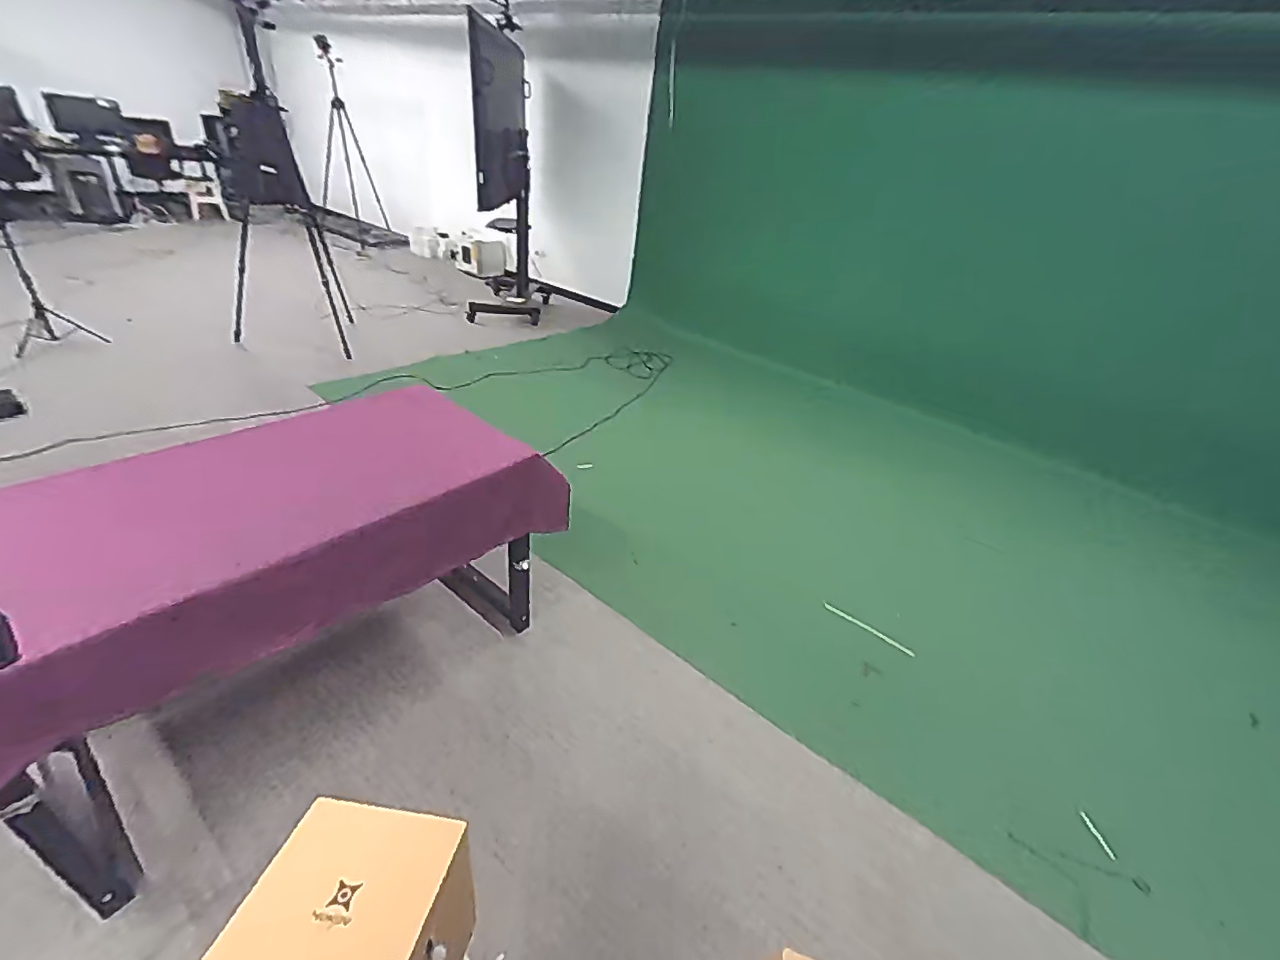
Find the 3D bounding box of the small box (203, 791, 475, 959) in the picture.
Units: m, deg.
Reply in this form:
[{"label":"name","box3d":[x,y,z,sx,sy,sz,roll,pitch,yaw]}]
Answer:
[{"label":"small box","box3d":[-0.270,0.446,0.518,0.168,0.176,0.179,7,24,5]}]
